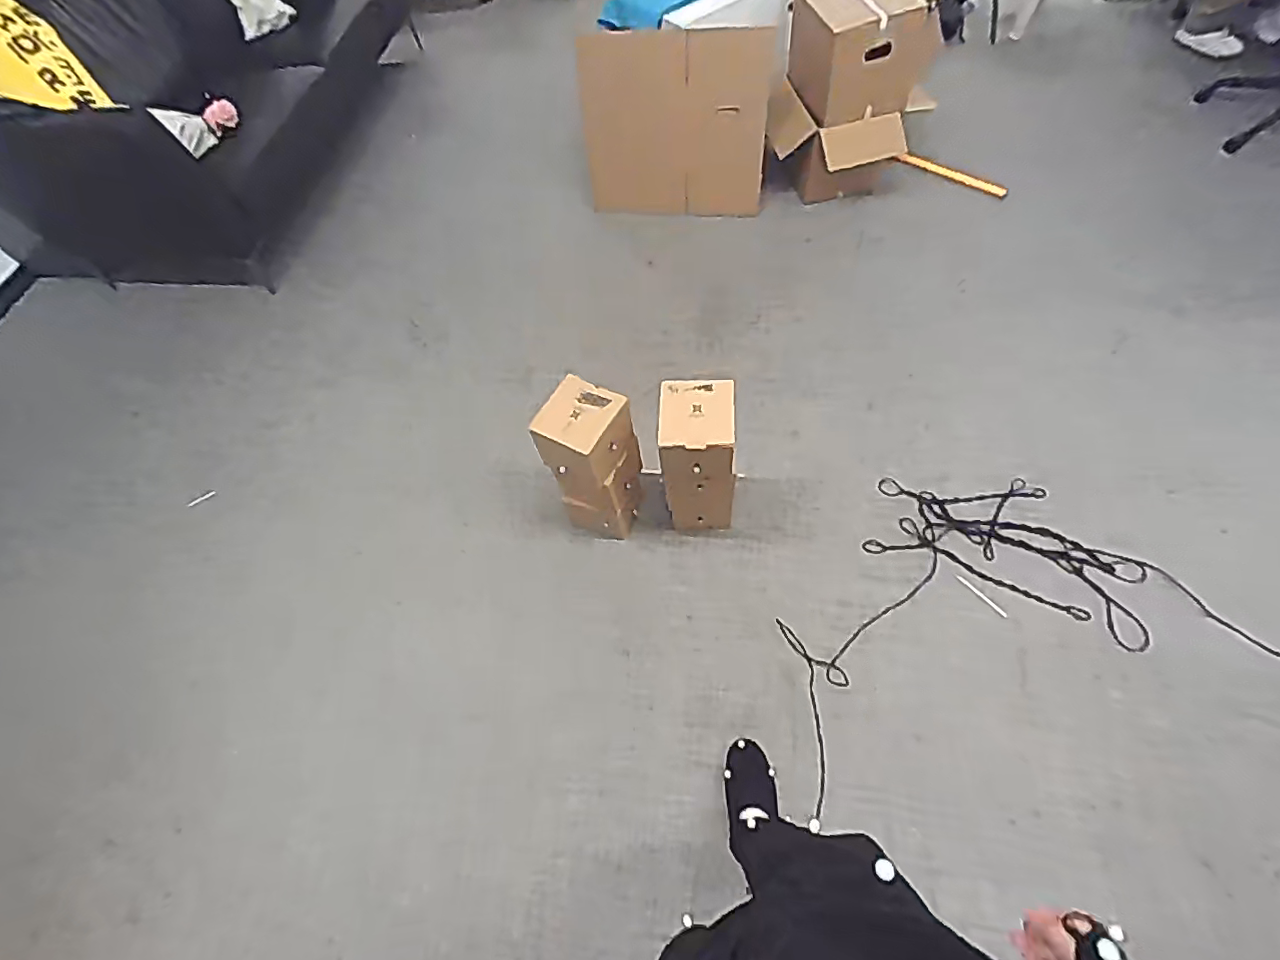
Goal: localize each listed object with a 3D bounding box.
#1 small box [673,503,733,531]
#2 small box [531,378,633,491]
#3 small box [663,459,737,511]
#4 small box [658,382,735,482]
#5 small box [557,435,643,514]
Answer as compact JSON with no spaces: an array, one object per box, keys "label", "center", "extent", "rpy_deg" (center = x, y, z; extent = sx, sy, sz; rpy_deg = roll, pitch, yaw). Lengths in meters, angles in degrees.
[{"label":"small box","center":[0.179,0.038,1.542],"extent":[0.168,0.176,0.179],"rpy_deg":[-3,60,6]},{"label":"small box","center":[-0.129,-0.106,1.290],"extent":[0.168,0.176,0.179],"rpy_deg":[25,67,19]},{"label":"small box","center":[0.152,-0.030,1.397],"extent":[0.179,0.176,0.168],"rpy_deg":[-7,61,4]},{"label":"small box","center":[0.135,-0.105,1.252],"extent":[0.168,0.176,0.179],"rpy_deg":[0,63,8]},{"label":"small box","center":[-0.107,-0.032,1.435],"extent":[0.179,0.176,0.168],"rpy_deg":[20,64,17]}]
